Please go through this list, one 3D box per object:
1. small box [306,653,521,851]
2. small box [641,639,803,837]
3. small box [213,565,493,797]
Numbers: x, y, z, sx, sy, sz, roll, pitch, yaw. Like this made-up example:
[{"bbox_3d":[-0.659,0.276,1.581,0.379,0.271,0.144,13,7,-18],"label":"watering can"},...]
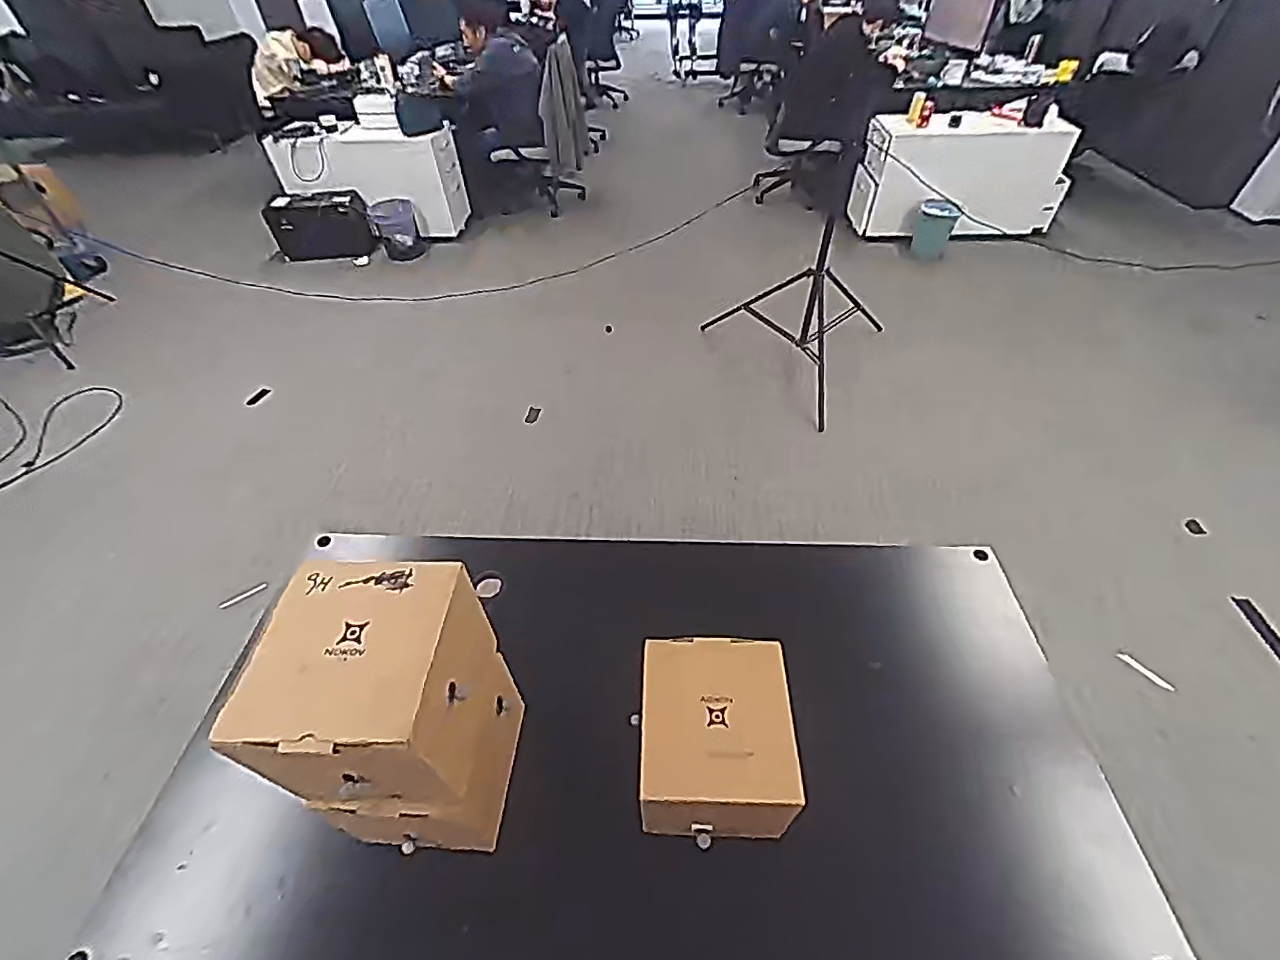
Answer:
[{"bbox_3d":[-0.251,0.324,0.656,0.168,0.176,0.179,1,47,4],"label":"small box"},{"bbox_3d":[0.087,0.312,0.657,0.168,0.176,0.179,-1,47,3],"label":"small box"},{"bbox_3d":[-0.258,0.204,0.544,0.168,0.176,0.179,0,47,2],"label":"small box"}]
